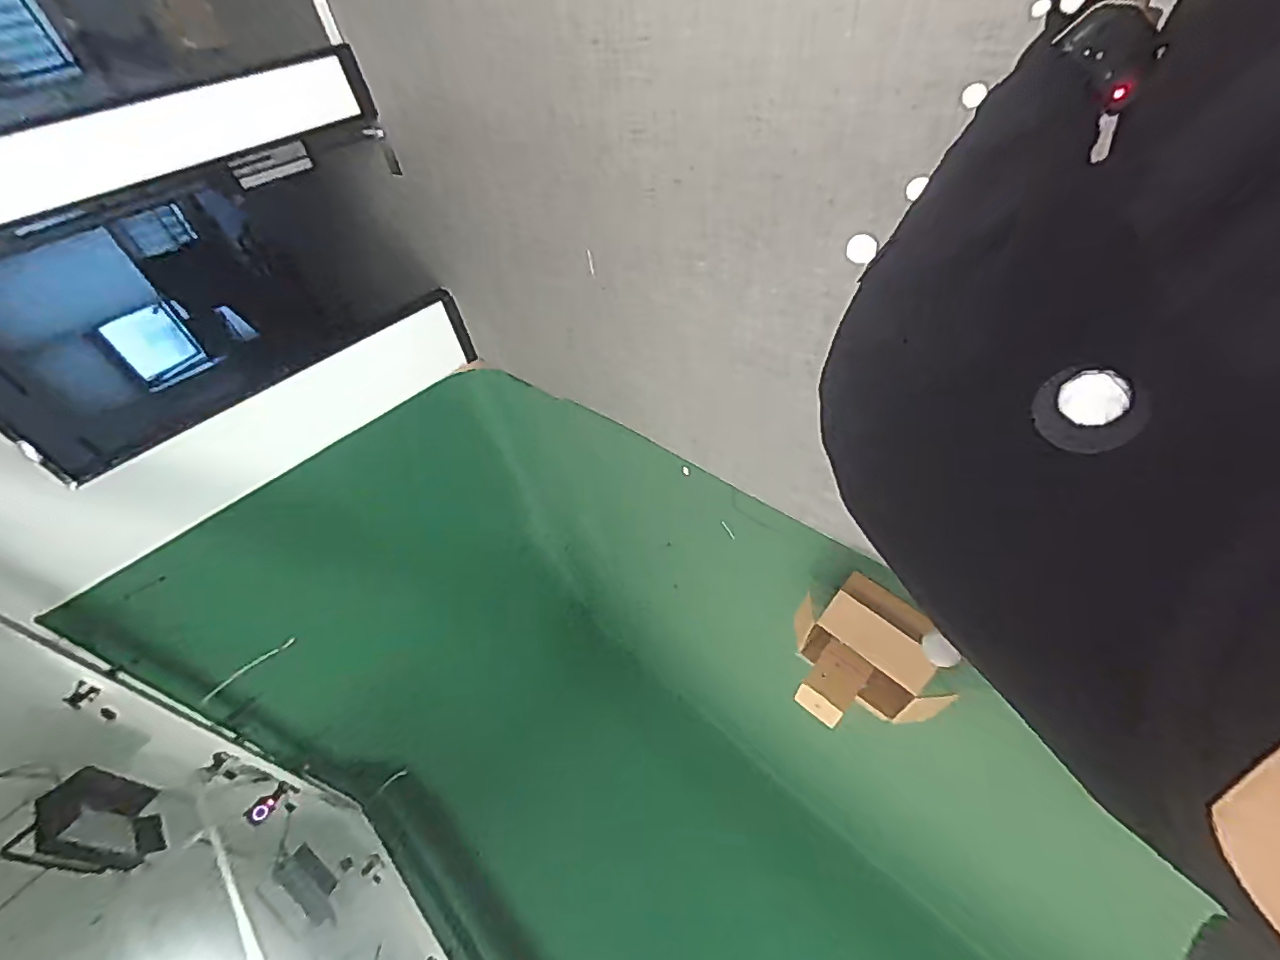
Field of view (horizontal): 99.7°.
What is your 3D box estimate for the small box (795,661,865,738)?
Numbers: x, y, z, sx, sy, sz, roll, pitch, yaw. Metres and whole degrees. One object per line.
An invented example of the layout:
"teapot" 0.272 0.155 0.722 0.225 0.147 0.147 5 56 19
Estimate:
"small box" 0.697 0.799 1.980 0.168 0.176 0.179 35 150 29
